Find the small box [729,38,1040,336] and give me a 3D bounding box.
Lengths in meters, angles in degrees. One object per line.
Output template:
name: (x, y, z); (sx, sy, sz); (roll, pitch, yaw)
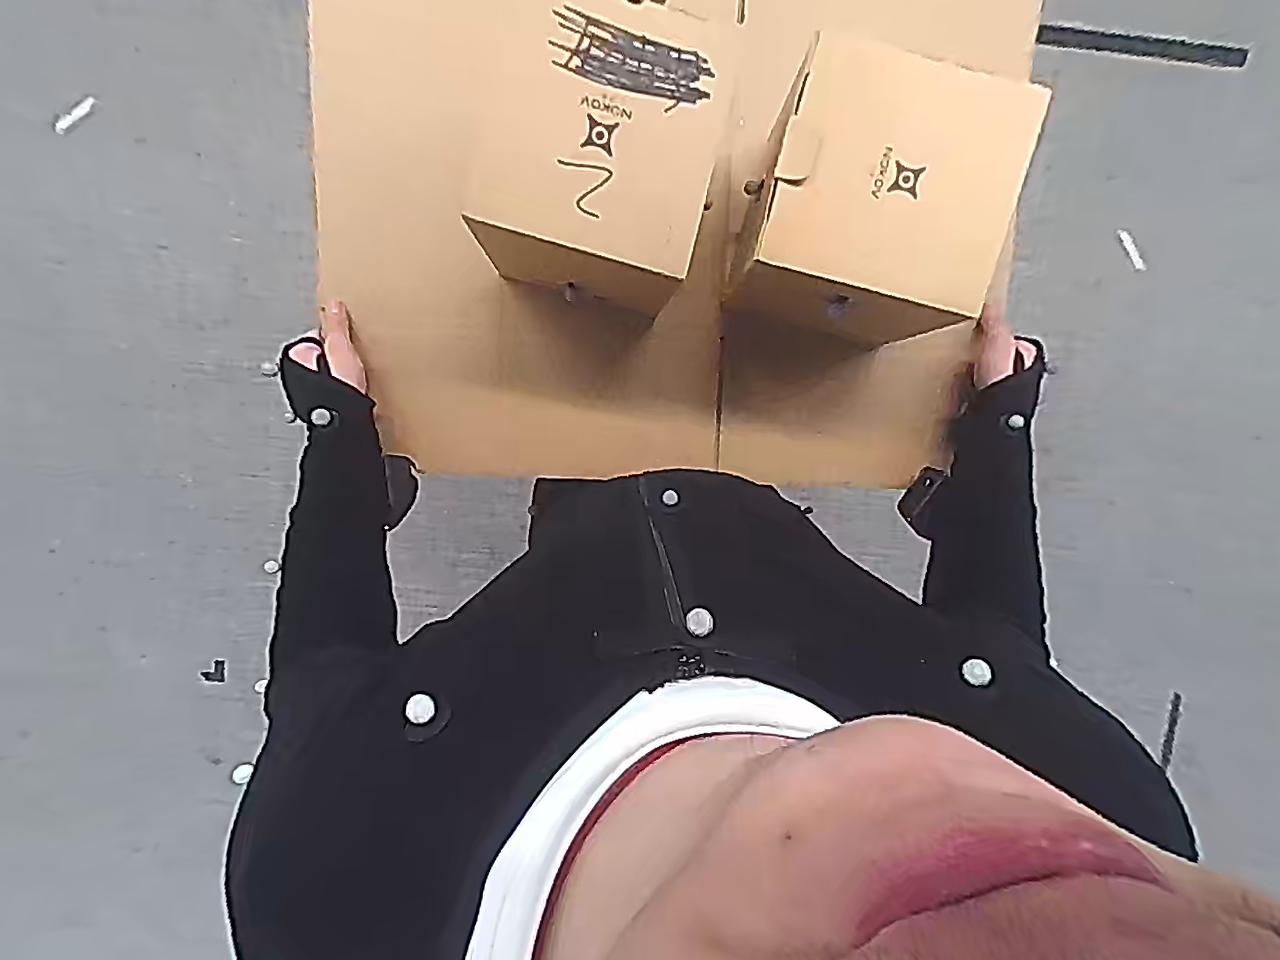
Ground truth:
small box: (0.194, -0.235, 0.486); (0.179, 0.176, 0.168); (15, 97, 0)
